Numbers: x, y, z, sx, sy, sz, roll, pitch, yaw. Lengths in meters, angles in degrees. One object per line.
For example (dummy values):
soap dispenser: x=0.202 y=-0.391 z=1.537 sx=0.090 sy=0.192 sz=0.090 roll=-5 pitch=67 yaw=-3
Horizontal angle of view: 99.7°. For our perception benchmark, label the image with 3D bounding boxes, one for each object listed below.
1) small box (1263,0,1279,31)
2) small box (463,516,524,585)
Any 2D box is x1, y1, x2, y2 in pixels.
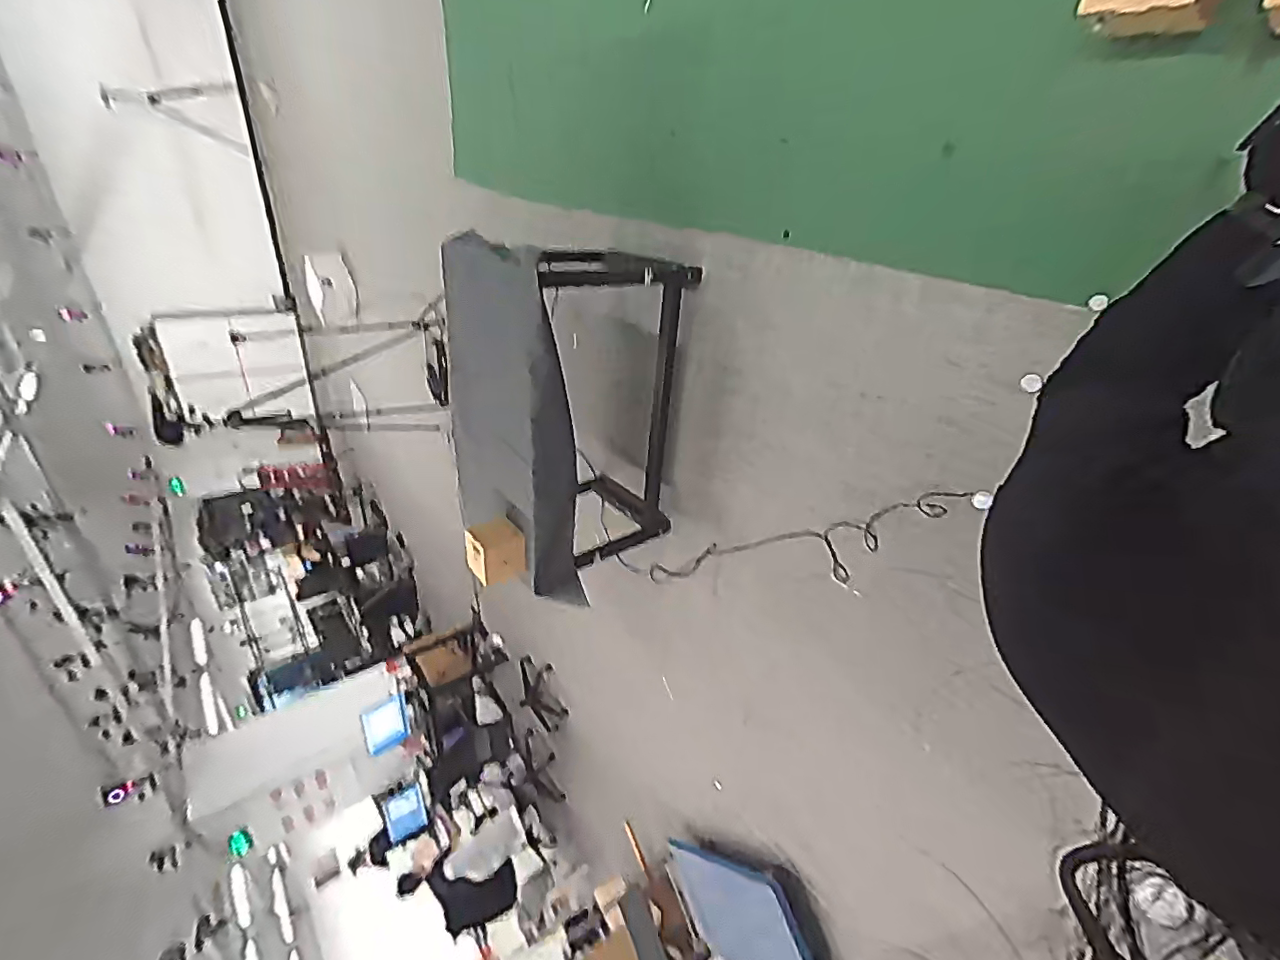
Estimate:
small box: x=1.048 y=-0.770 z=0.763 sx=0.168 sy=0.176 sz=0.179 roll=33 pitch=130 yaw=40
small box: x=-0.555 y=0.262 z=2.061 sx=0.168 sy=0.176 sz=0.179 roll=33 pitch=129 yaw=41
